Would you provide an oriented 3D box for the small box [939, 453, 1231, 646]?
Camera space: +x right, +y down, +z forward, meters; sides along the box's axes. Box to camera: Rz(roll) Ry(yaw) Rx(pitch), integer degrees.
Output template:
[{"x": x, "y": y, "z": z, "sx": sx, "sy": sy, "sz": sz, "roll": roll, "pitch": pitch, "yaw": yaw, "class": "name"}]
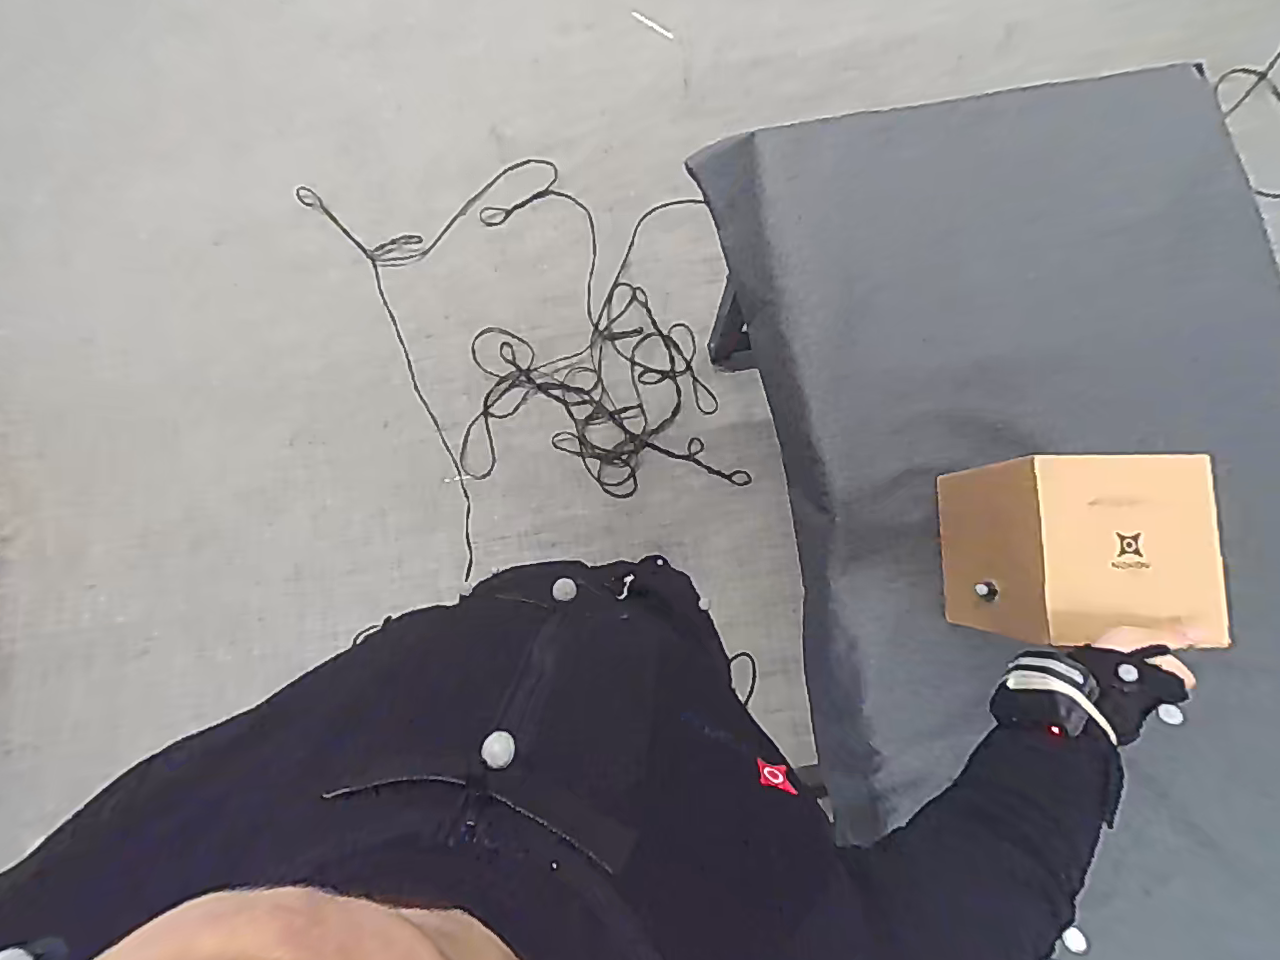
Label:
[{"x": 0.445, "y": 0.070, "z": 0.572, "sx": 0.168, "sy": 0.176, "sz": 0.179, "roll": -1, "pitch": 83, "yaw": -1, "class": "small box"}]
